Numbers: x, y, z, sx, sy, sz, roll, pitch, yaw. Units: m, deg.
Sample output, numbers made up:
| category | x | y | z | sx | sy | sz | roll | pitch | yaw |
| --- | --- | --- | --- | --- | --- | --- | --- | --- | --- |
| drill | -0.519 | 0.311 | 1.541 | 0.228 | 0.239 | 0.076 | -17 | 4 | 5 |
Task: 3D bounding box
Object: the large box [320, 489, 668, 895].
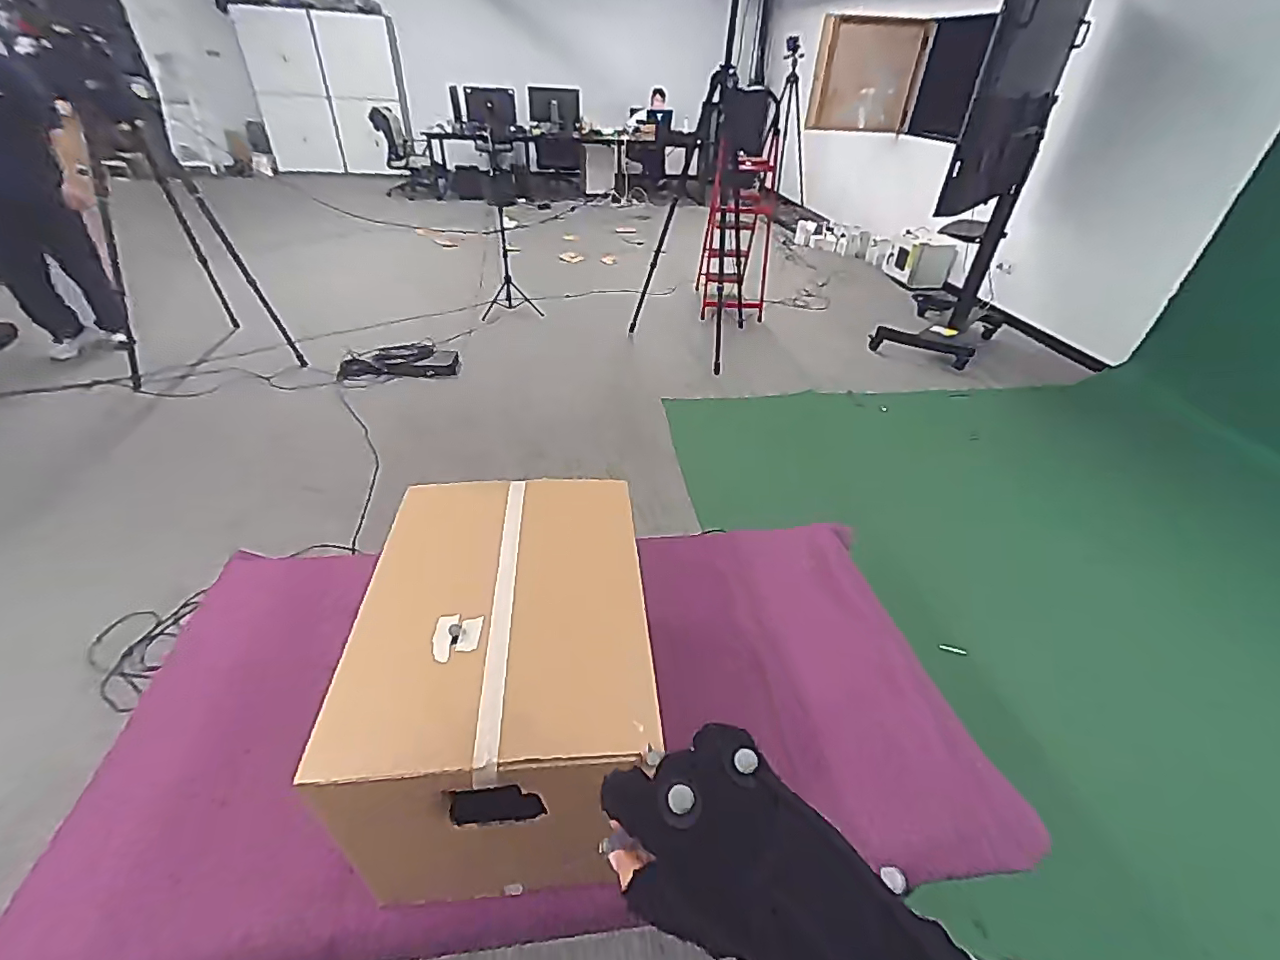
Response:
| category | x | y | z | sx | sy | sz | roll | pitch | yaw |
| --- | --- | --- | --- | --- | --- | --- | --- | --- | --- |
| large box | -0.158 | 0.255 | 0.724 | 0.320 | 0.320 | 0.408 | -1 | 38 | -6 |
